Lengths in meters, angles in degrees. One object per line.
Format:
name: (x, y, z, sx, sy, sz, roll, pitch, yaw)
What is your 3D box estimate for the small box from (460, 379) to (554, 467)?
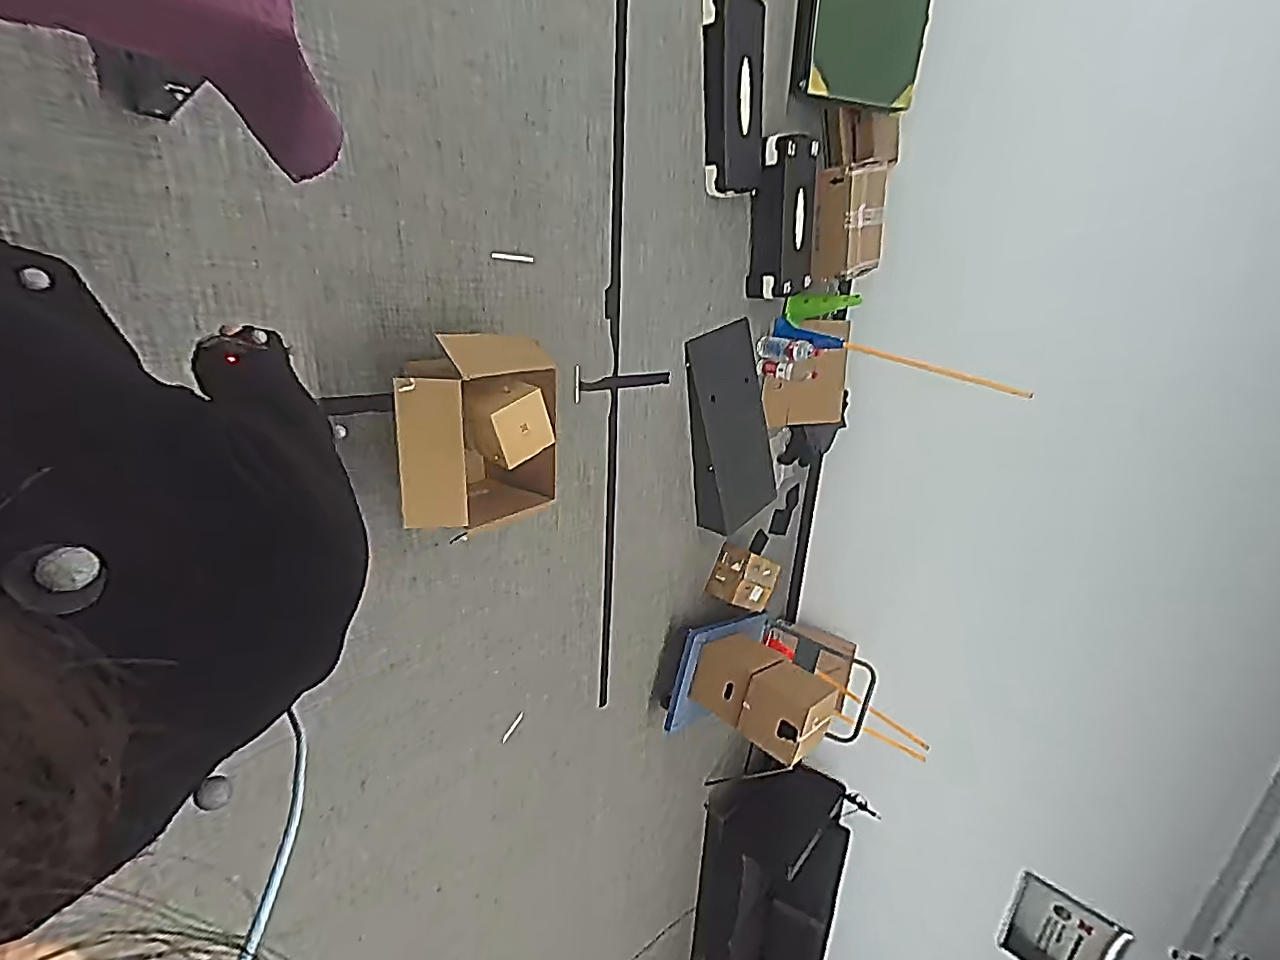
small box: (-0.371, -0.167, 1.499, 0.168, 0.176, 0.179, -38, 134, -31)
